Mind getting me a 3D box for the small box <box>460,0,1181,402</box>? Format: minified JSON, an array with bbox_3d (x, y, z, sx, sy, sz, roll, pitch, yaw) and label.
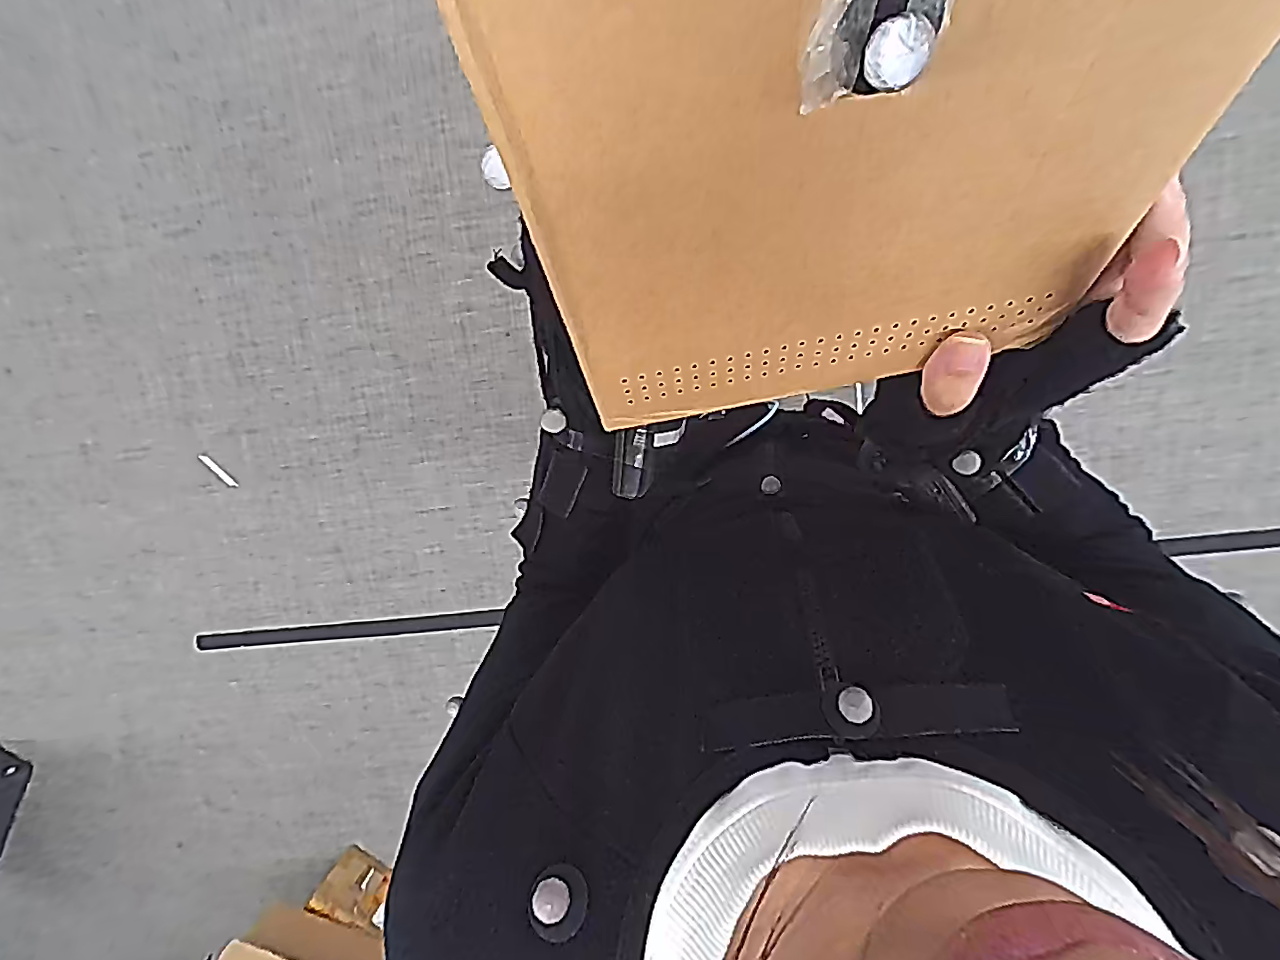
[{"bbox_3d":[0.049,-0.148,0.201,0.179,0.176,0.168,-10,63,5],"label":"small box"}]
